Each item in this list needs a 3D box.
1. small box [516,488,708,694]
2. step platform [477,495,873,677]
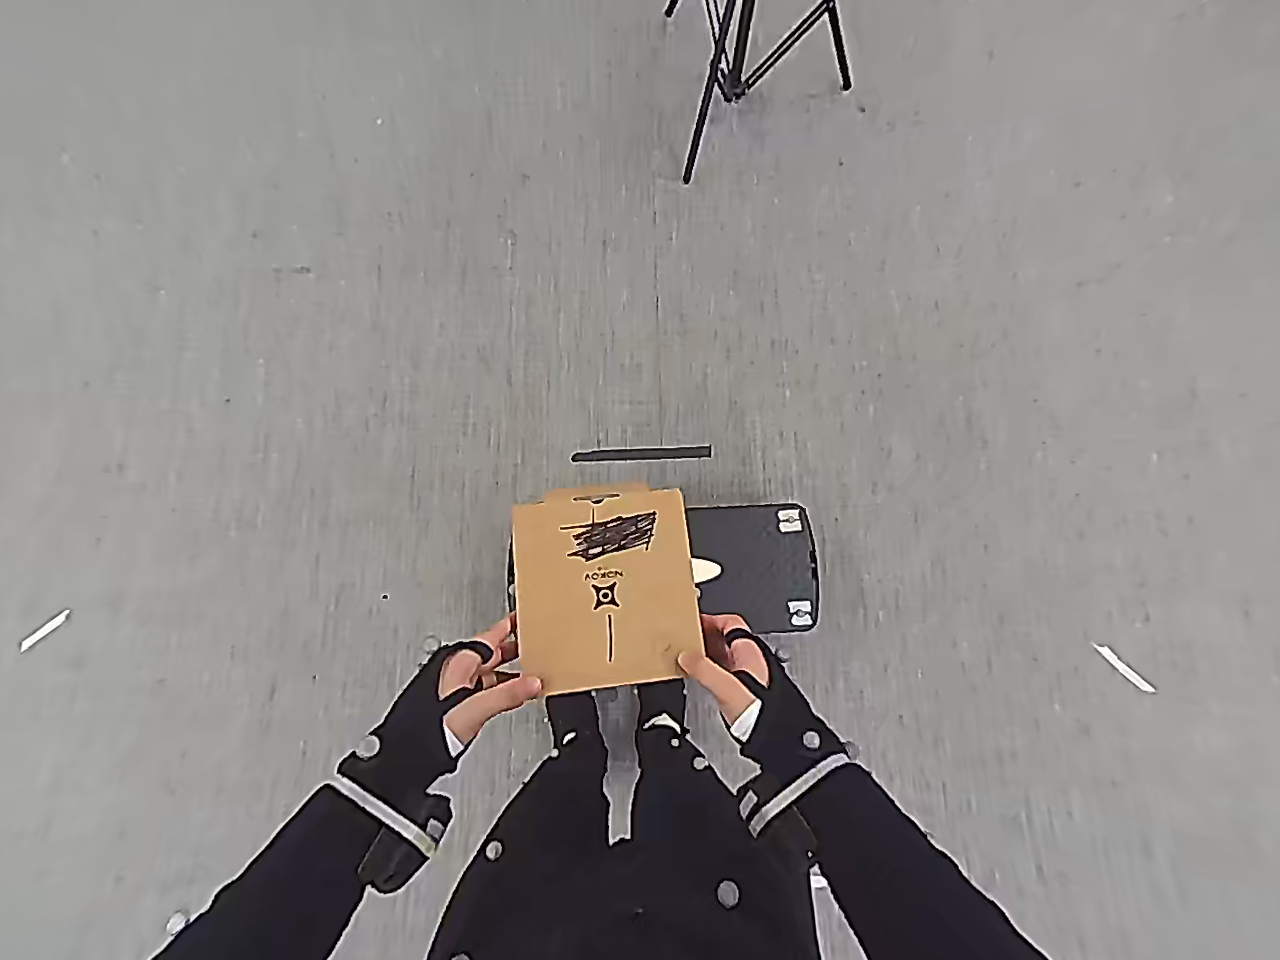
[{"bbox_3d":[-0.034,0.121,0.572,0.168,0.176,0.179,-6,72,-4],"label":"small box"},{"bbox_3d":[0.059,0.199,1.027,0.684,0.204,0.286,-3,78,-1],"label":"step platform"}]
